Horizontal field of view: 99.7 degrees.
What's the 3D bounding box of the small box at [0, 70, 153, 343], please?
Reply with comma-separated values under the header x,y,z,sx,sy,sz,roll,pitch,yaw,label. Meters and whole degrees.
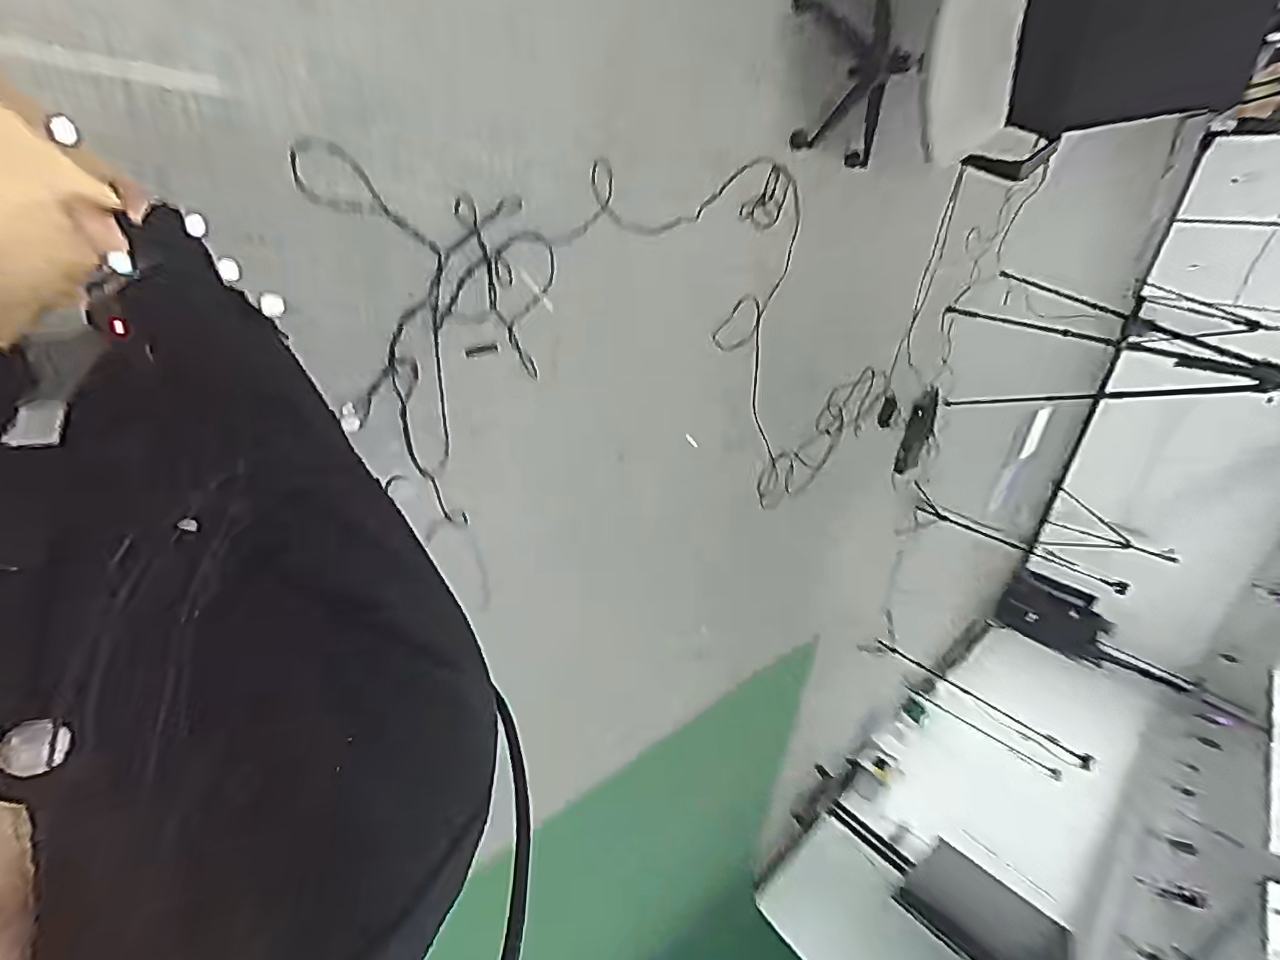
x,y,z,sx,sy,sz,roll,pitch,yaw,label
-0.563,-0.253,0.447,0.168,0.176,0.179,-47,142,-6,small box
